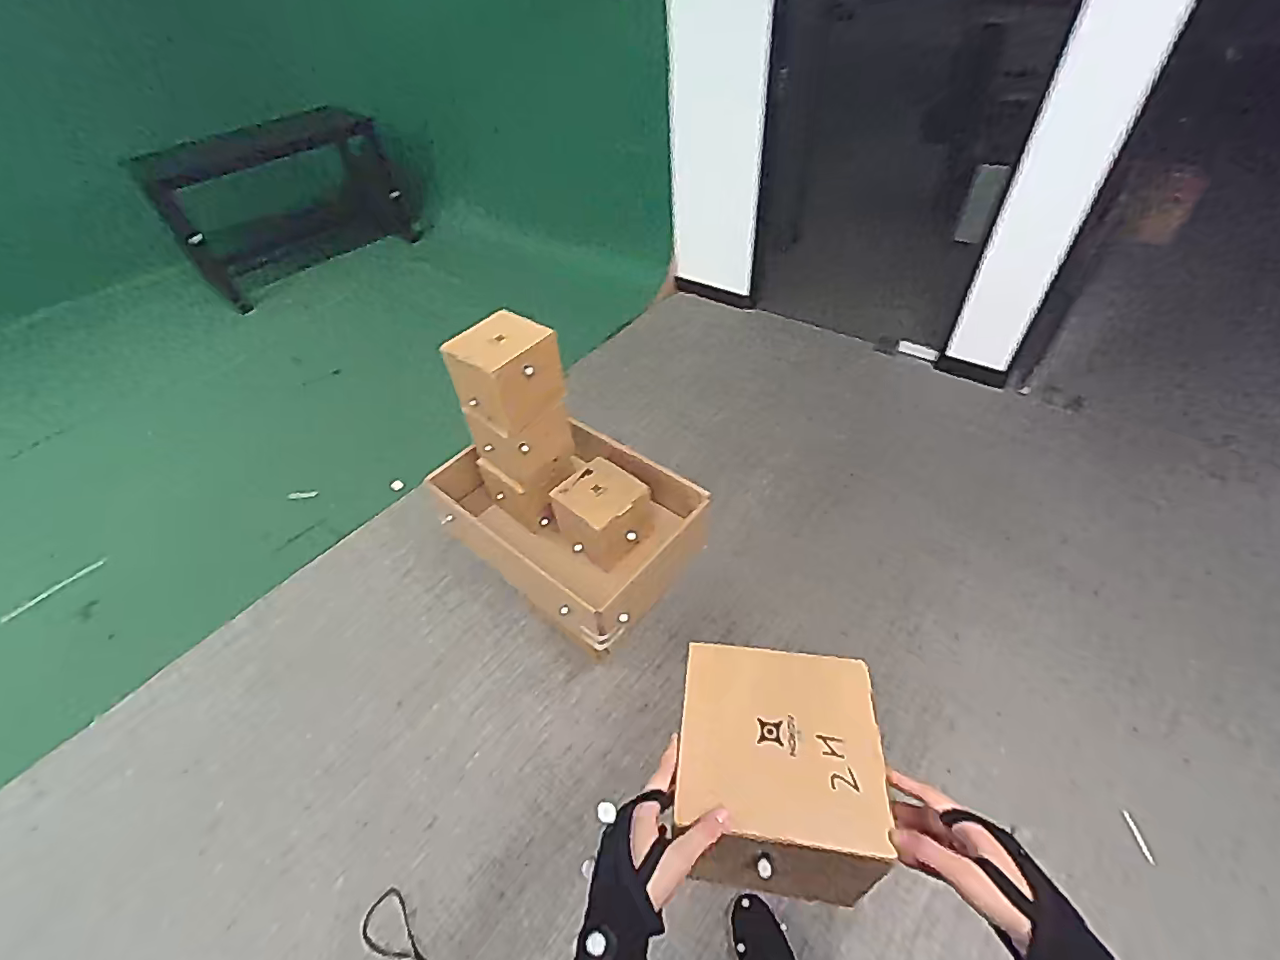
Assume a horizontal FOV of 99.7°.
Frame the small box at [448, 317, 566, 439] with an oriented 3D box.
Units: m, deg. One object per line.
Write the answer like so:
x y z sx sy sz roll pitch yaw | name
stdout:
-0.278 -0.223 1.179 0.168 0.176 0.179 28 56 28 | small box

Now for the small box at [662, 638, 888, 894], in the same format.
0.119 0.279 0.530 0.179 0.176 0.168 4 42 8 | small box
